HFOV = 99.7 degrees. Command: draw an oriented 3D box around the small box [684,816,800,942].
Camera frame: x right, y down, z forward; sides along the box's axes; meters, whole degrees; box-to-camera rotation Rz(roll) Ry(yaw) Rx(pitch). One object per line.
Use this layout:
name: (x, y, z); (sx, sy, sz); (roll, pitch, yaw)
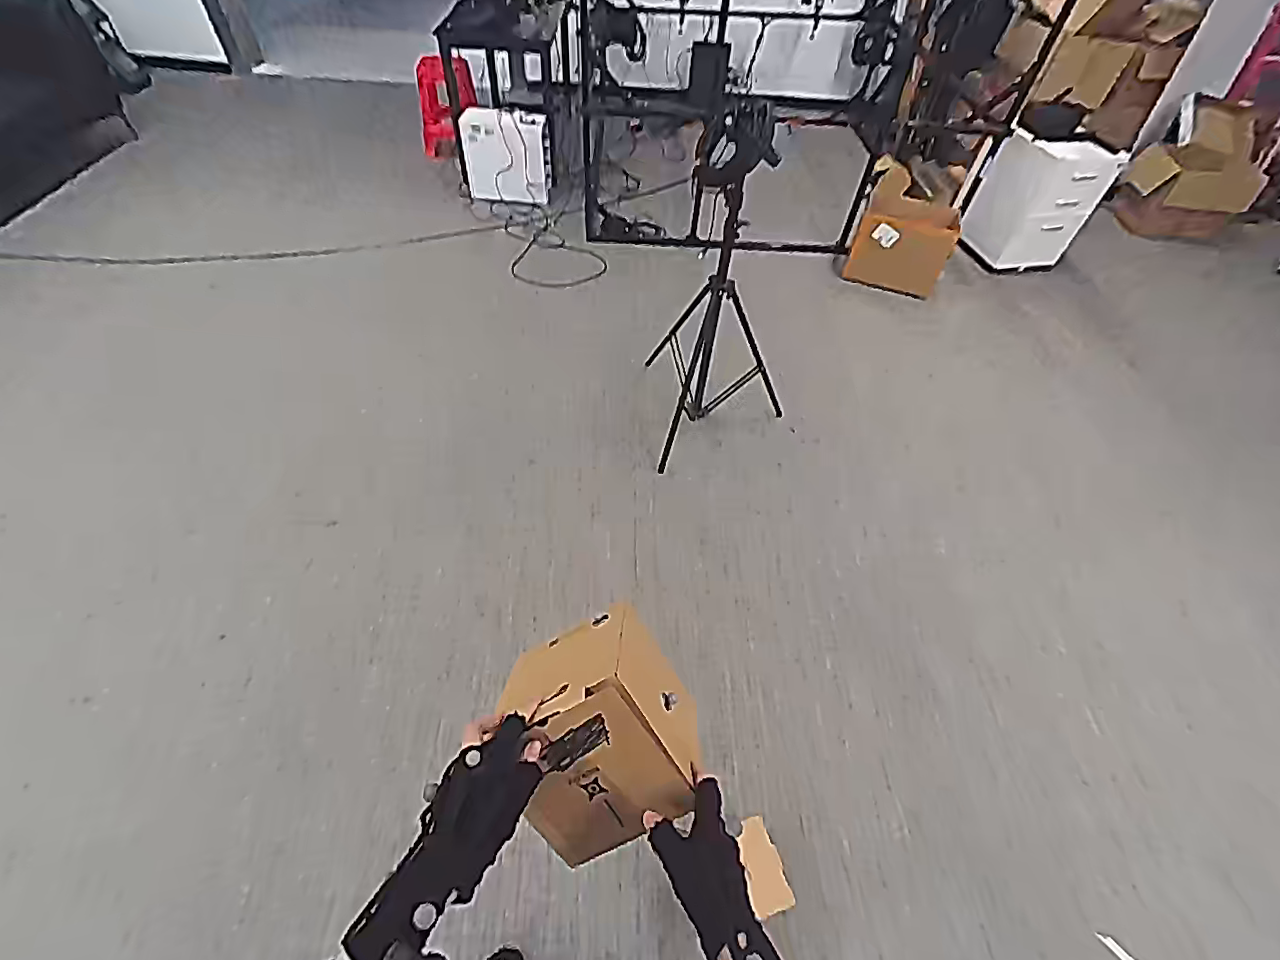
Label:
small box: (0.207, 0.850, 1.156); (0.179, 0.176, 0.168); (-14, 52, -14)

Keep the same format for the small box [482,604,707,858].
small box: (-0.044, 0.265, 0.615); (0.168, 0.179, 0.176); (-31, 11, 8)
